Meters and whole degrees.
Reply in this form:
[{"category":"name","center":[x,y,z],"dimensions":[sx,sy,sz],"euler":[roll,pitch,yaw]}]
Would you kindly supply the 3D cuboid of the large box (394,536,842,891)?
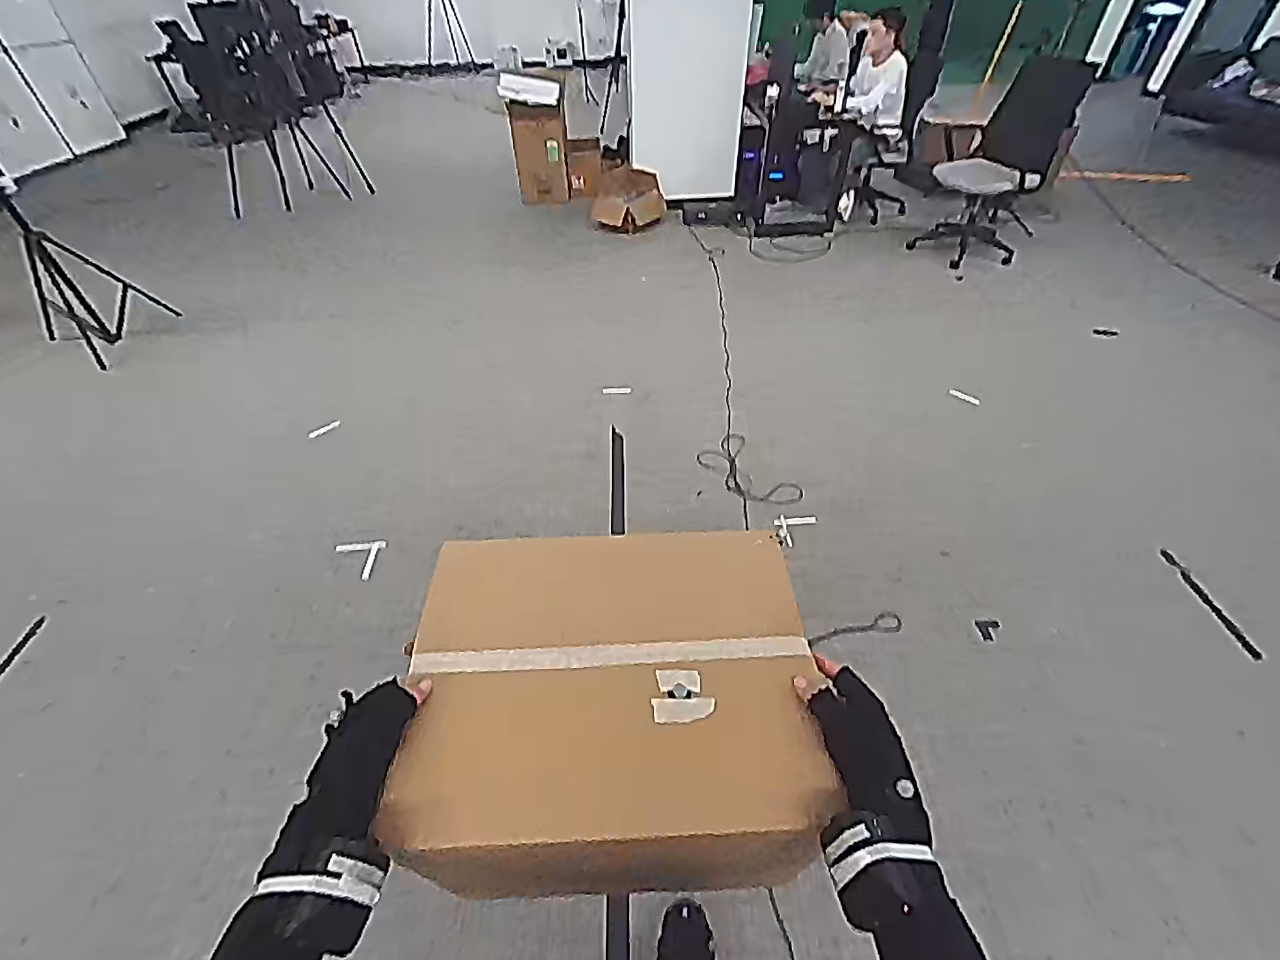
[{"category":"large box","center":[-0.026,0.291,0.680],"dimensions":[0.408,0.320,0.320],"euler":[-2,46,-2]}]
